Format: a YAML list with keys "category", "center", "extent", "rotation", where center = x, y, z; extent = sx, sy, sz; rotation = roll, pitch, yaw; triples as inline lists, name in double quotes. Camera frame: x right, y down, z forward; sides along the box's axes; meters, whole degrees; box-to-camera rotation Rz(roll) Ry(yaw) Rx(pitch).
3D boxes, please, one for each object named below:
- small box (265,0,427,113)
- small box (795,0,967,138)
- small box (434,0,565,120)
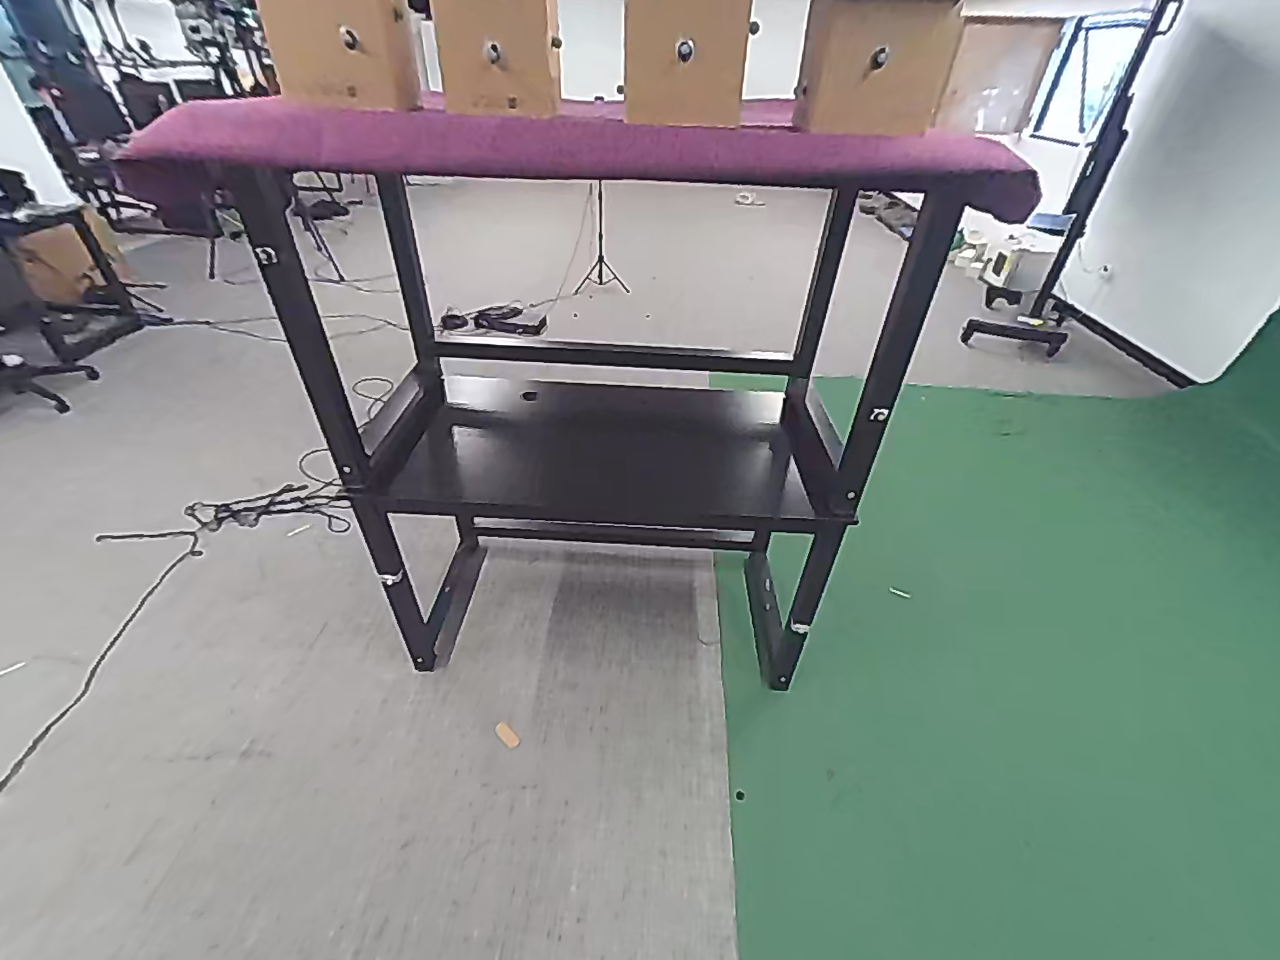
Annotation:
- category: "small box"
  center: [-0.450, -0.686, 0.852]
  extent: [0.168, 0.176, 0.179]
  rotation: [1, 36, -4]
- category: "small box"
  center: [0.350, -0.631, 0.826]
  extent: [0.179, 0.176, 0.168]
  rotation: [2, 38, 2]
- category: "small box"
  center: [-0.210, -0.680, 0.858]
  extent: [0.168, 0.176, 0.179]
  rotation: [1, 37, -3]
